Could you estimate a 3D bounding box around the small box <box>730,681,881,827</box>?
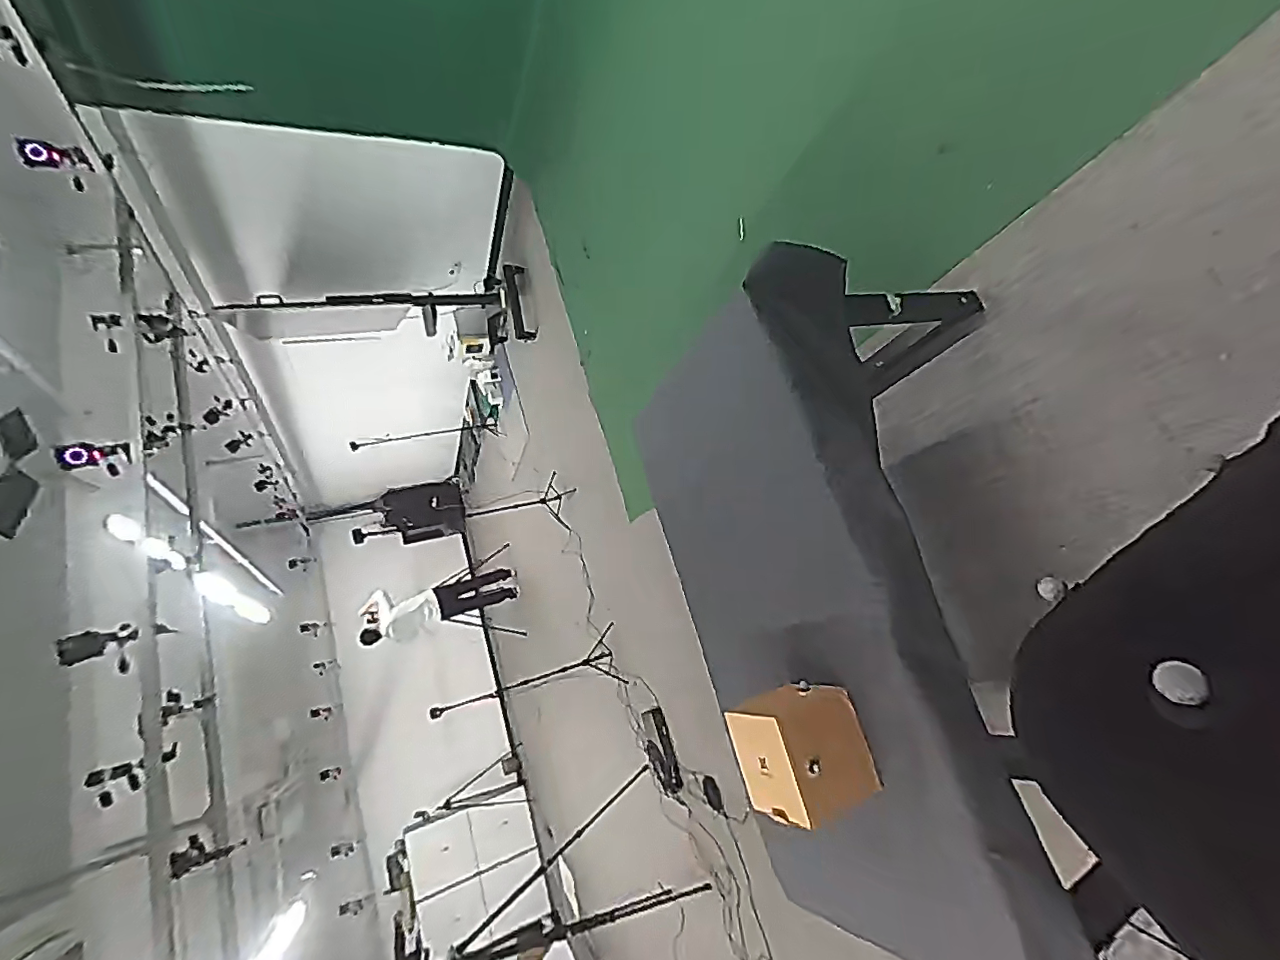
[{"bbox_3d":[0.295,0.477,0.970,0.168,0.176,0.179,-40,63,60],"label":"small box"}]
